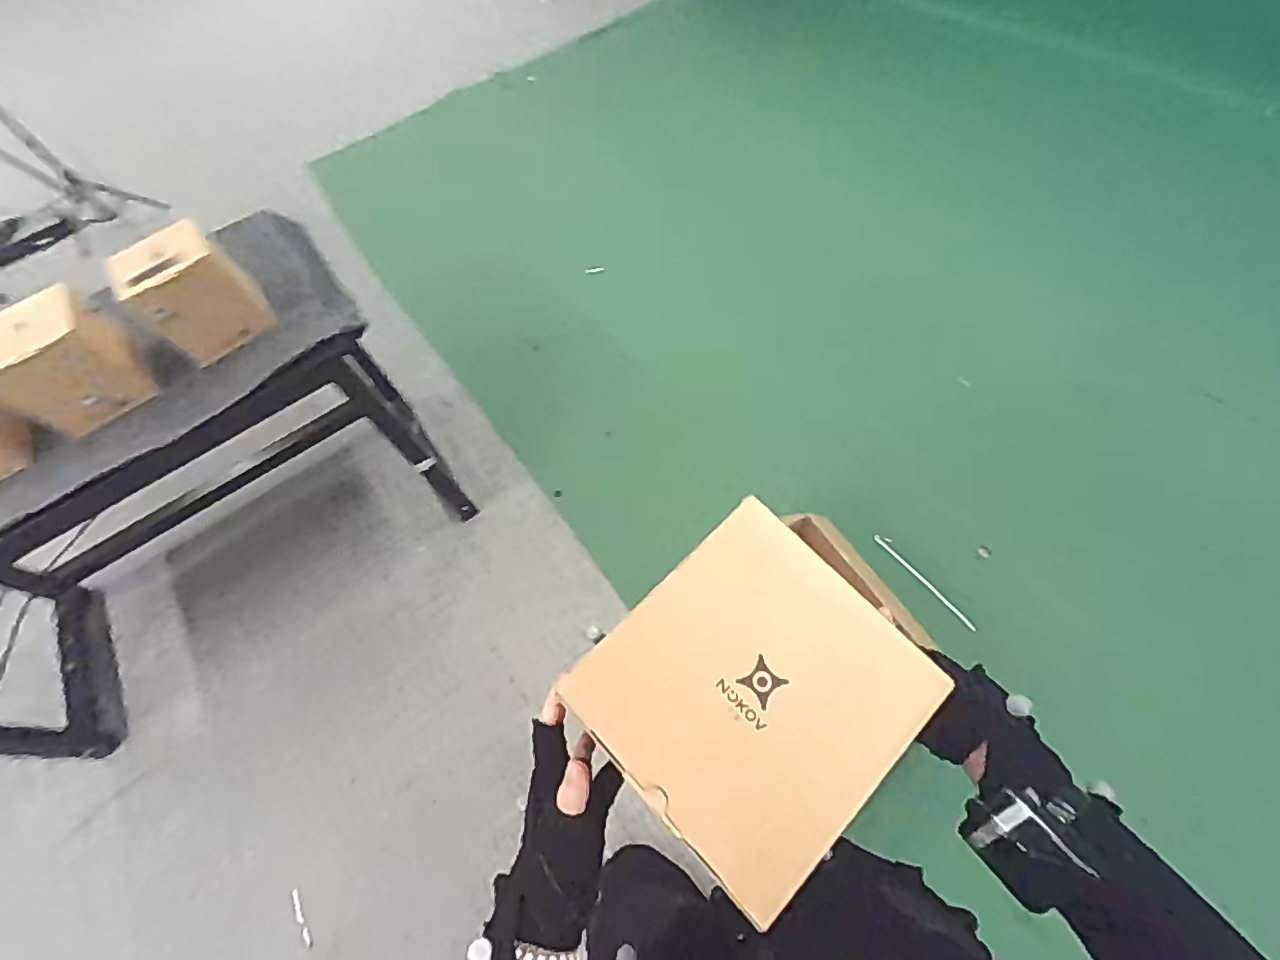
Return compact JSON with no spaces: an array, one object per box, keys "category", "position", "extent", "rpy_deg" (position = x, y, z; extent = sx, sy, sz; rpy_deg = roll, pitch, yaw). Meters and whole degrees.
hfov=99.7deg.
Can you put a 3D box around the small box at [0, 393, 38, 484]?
[{"category":"small box","position":[-1.231,-0.079,0.953],"extent":[0.168,0.176,0.179],"rpy_deg":[-33,60,-12]}]

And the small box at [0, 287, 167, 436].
[{"category":"small box","position":[-1.037,-0.215,1.003],"extent":[0.168,0.176,0.179],"rpy_deg":[-35,61,-12]}]
